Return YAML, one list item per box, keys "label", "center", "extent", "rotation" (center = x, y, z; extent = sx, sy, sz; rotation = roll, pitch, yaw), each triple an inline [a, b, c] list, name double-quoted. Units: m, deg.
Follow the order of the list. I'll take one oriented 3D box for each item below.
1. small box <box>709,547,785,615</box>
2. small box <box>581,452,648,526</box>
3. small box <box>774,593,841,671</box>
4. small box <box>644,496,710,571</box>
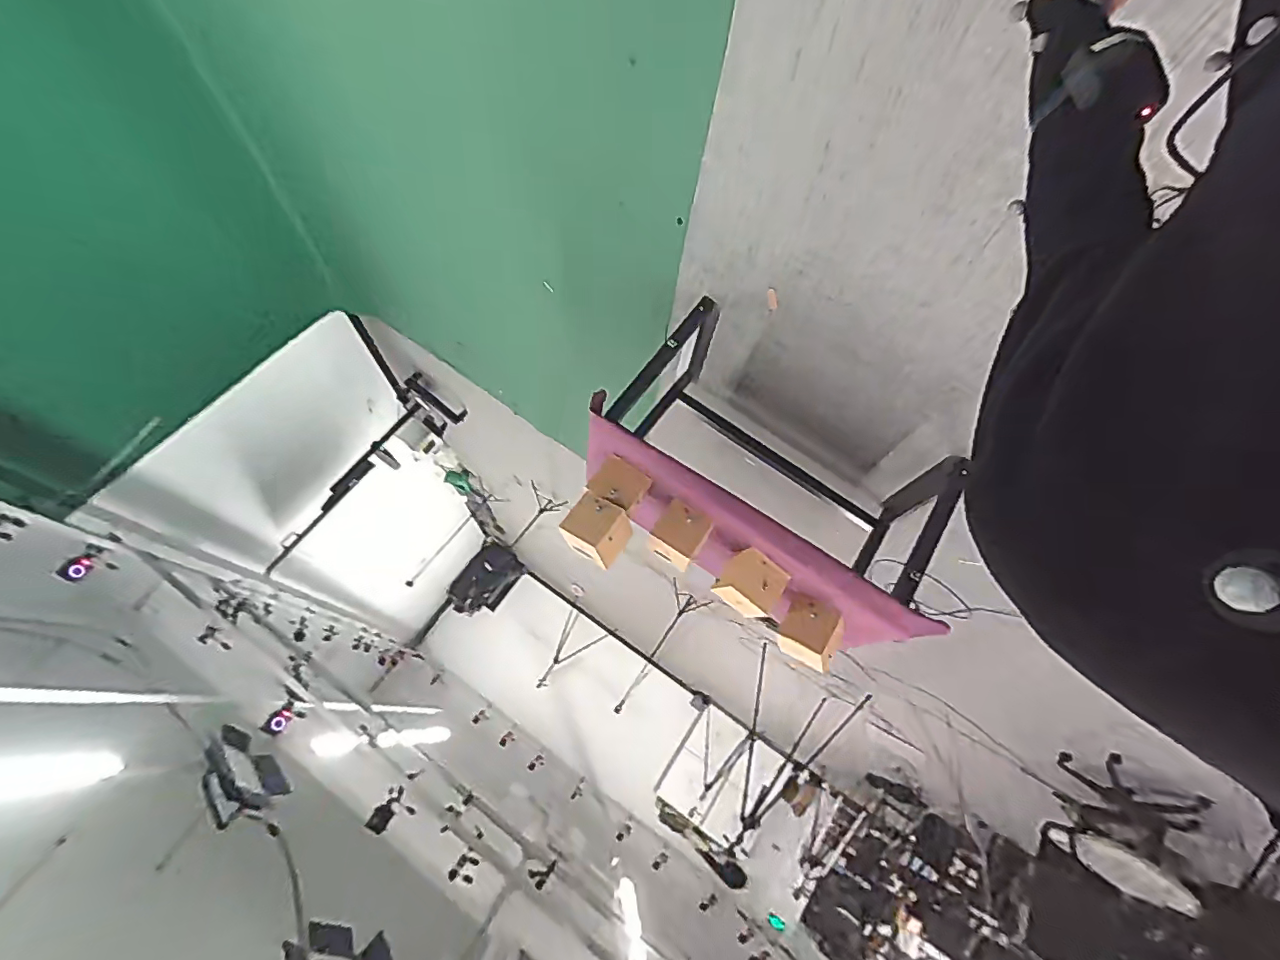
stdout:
- label: "small box"
  center: [0.370, 0.345, 1.853]
  extent: [0.168, 0.176, 0.179]
  rotation: [38, 159, -3]
- label: "small box"
  center: [-0.091, 0.030, 1.919]
  extent: [0.179, 0.176, 0.168]
  rotation: [34, 158, 7]
- label: "small box"
  center: [0.584, 0.522, 1.870]
  extent: [0.168, 0.176, 0.179]
  rotation: [22, 153, 33]
- label: "small box"
  center: [0.130, 0.188, 1.901]
  extent: [0.168, 0.176, 0.179]
  rotation: [32, 157, 12]
